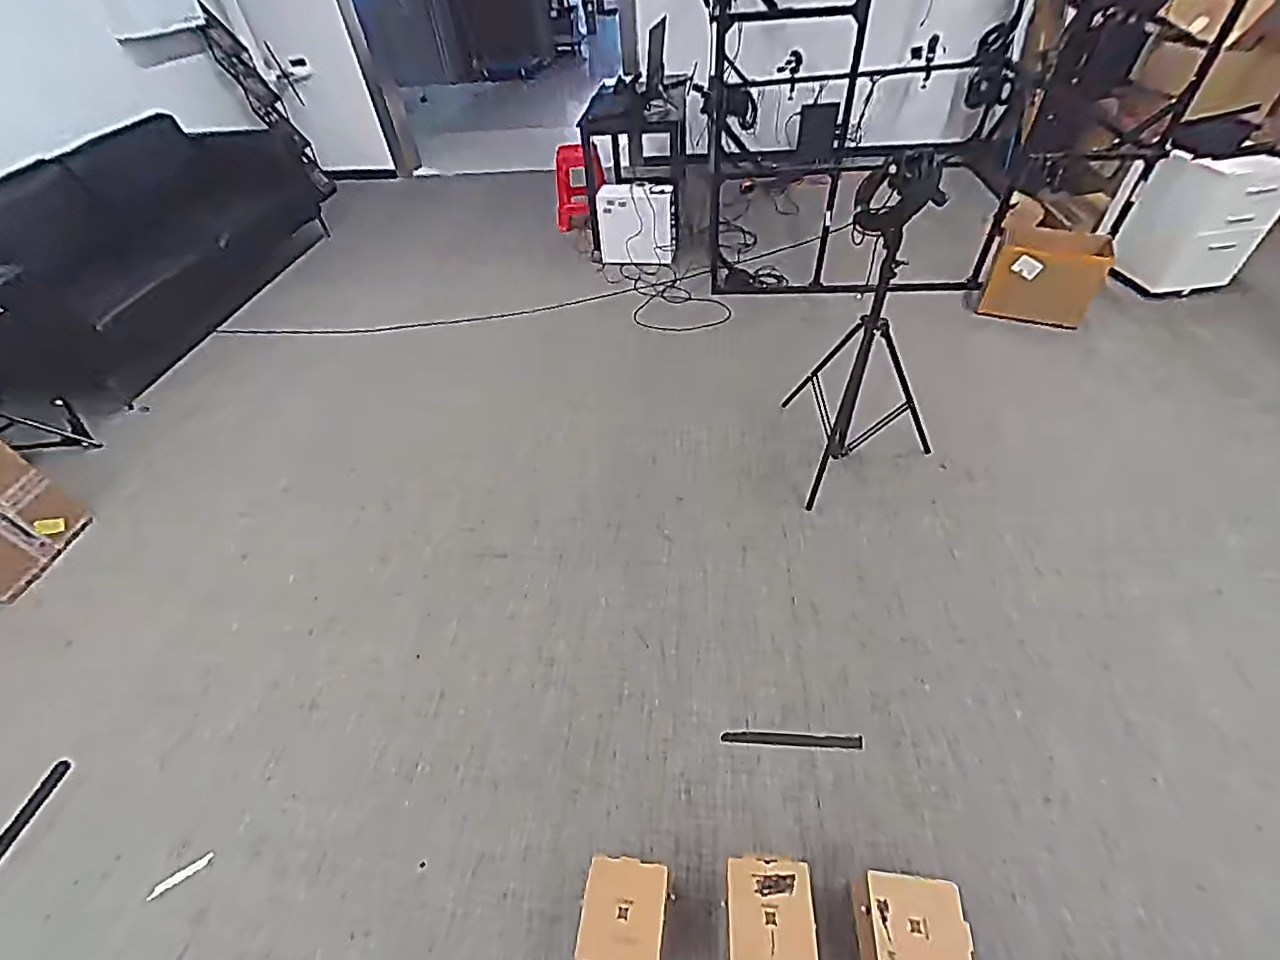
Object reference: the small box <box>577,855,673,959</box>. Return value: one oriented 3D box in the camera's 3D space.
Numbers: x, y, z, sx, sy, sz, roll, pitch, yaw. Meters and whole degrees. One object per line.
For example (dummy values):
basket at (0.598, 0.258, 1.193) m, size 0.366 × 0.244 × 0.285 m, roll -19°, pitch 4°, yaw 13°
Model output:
small box at (-0.023, 0.914, 1.129) m, size 0.168 × 0.176 × 0.179 m, roll 2°, pitch 47°, yaw 9°

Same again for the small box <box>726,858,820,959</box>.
small box at (0.264, 0.902, 1.108) m, size 0.168 × 0.176 × 0.179 m, roll 0°, pitch 47°, yaw 6°

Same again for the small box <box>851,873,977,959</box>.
small box at (0.539, 0.908, 1.077) m, size 0.179 × 0.176 × 0.168 m, roll 4°, pitch 47°, yaw 8°
